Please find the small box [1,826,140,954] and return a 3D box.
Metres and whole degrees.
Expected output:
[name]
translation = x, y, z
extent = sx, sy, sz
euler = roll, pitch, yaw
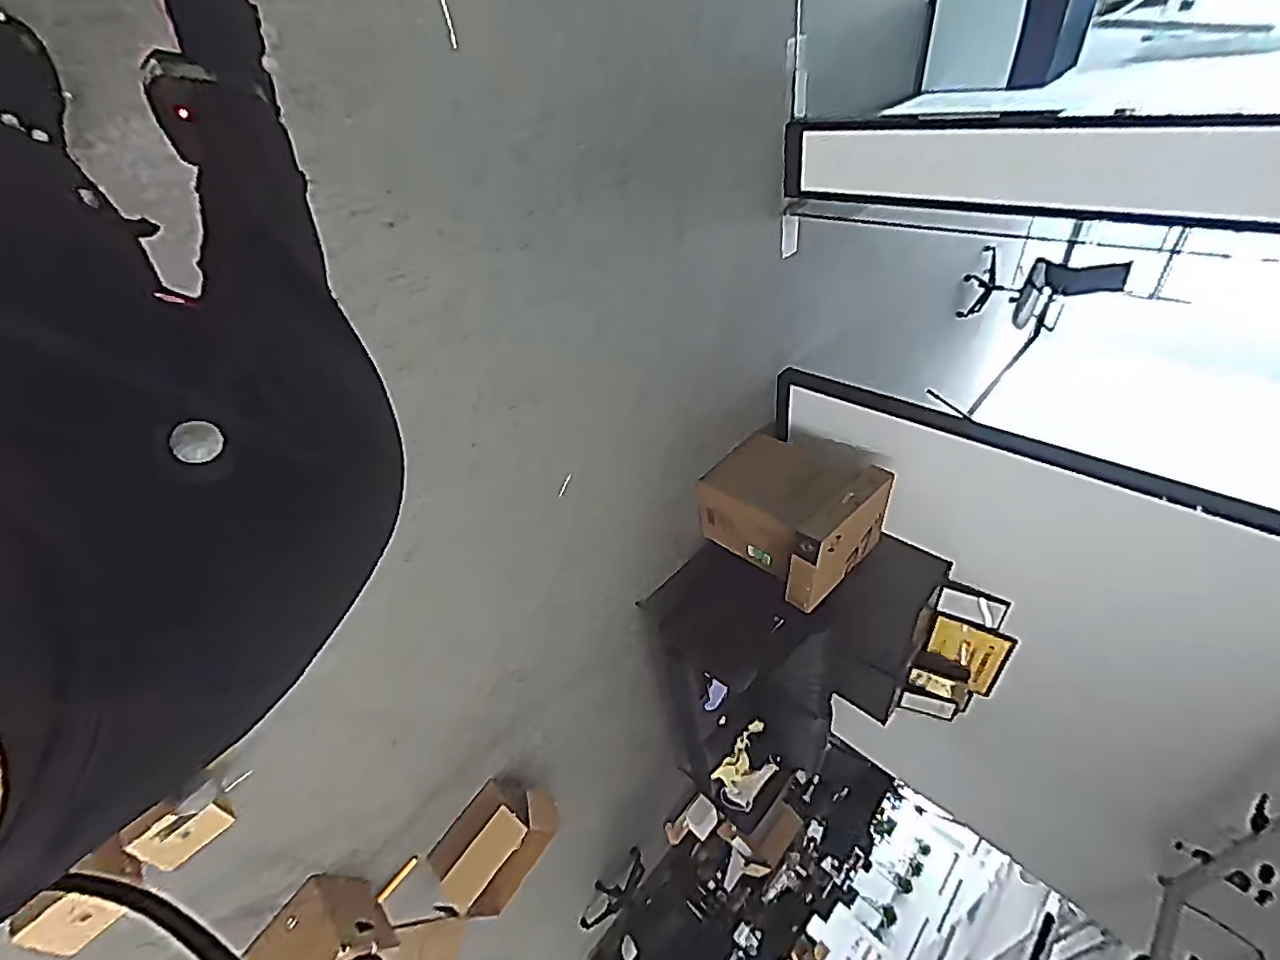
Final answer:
[small box]
translation = -1.390, 0.997, 1.325
extent = 0.168, 0.176, 0.179
euler = -38, 137, -30
